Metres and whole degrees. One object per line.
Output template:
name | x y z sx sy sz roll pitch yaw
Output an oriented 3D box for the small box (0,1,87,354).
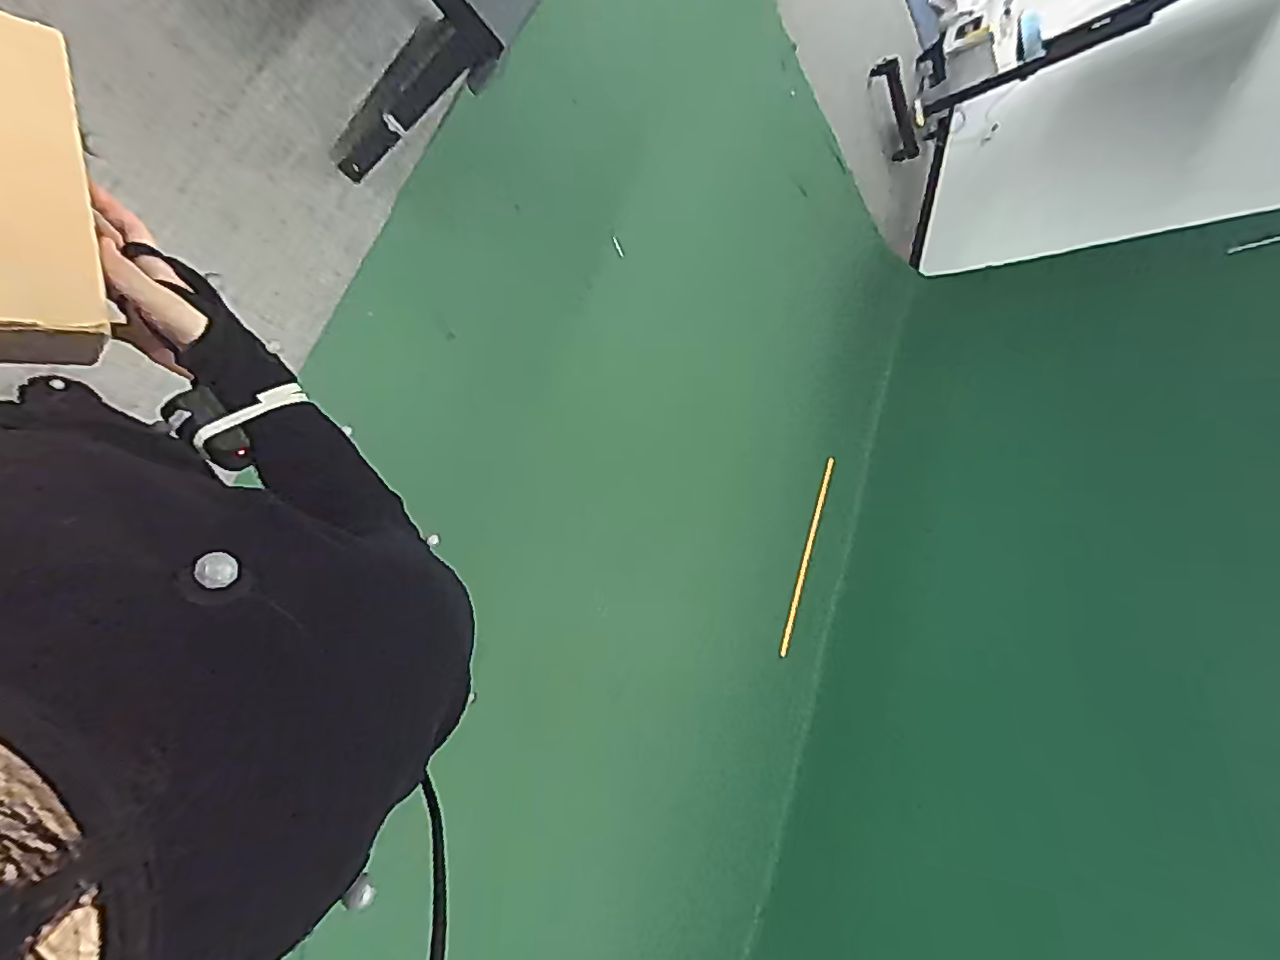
small box | -0.455 -0.178 0.313 0.168 0.176 0.179 -9 98 -48
